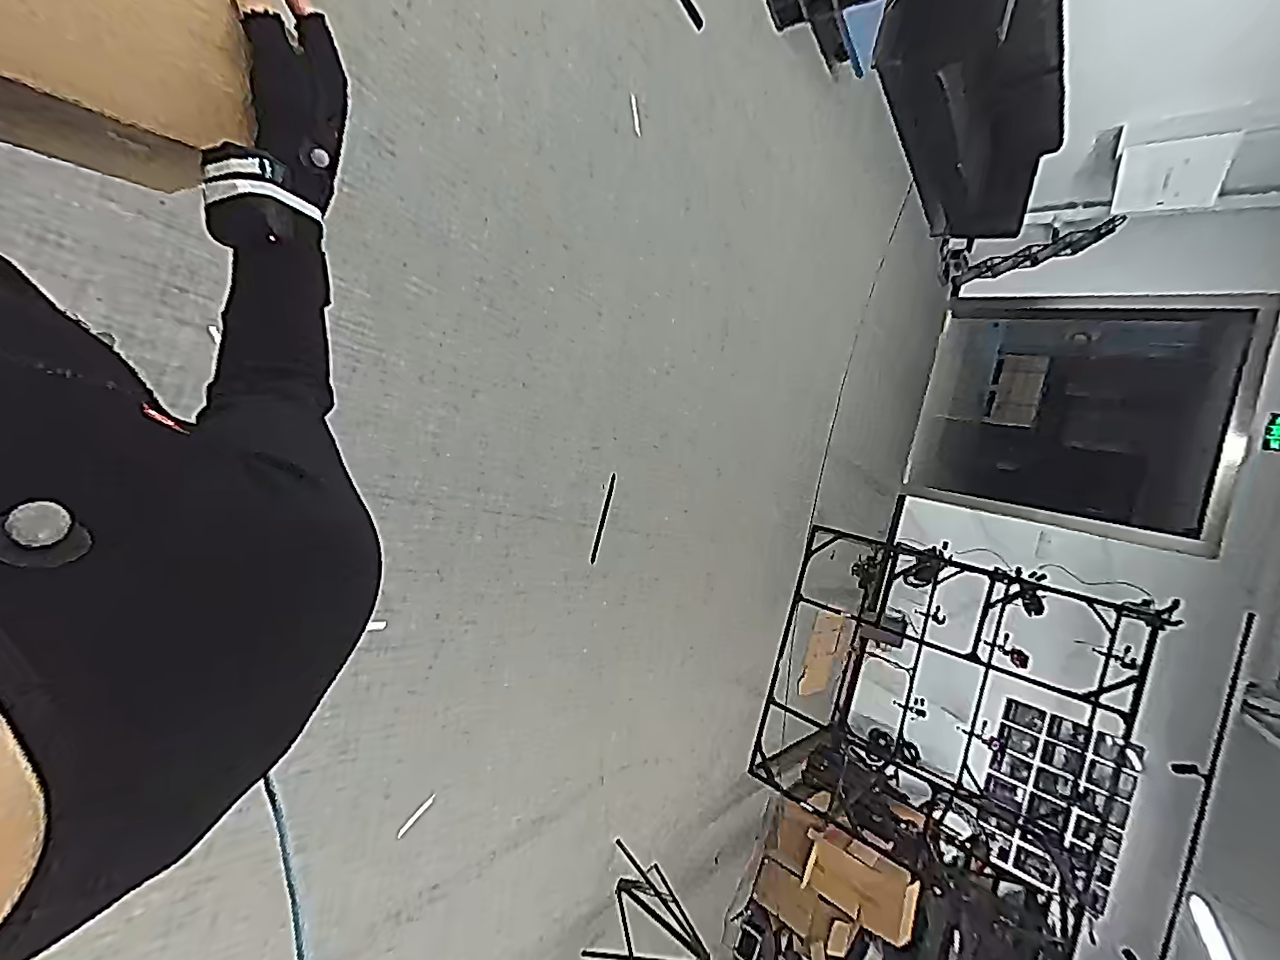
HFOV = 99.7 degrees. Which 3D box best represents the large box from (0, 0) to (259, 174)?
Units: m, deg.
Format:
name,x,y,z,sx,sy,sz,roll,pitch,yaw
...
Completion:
name,x,y,z,sx,sy,sz,roll,pitch,yaw
large box,-0.532,-0.453,0.354,0.408,0.320,0.320,-1,107,-52
